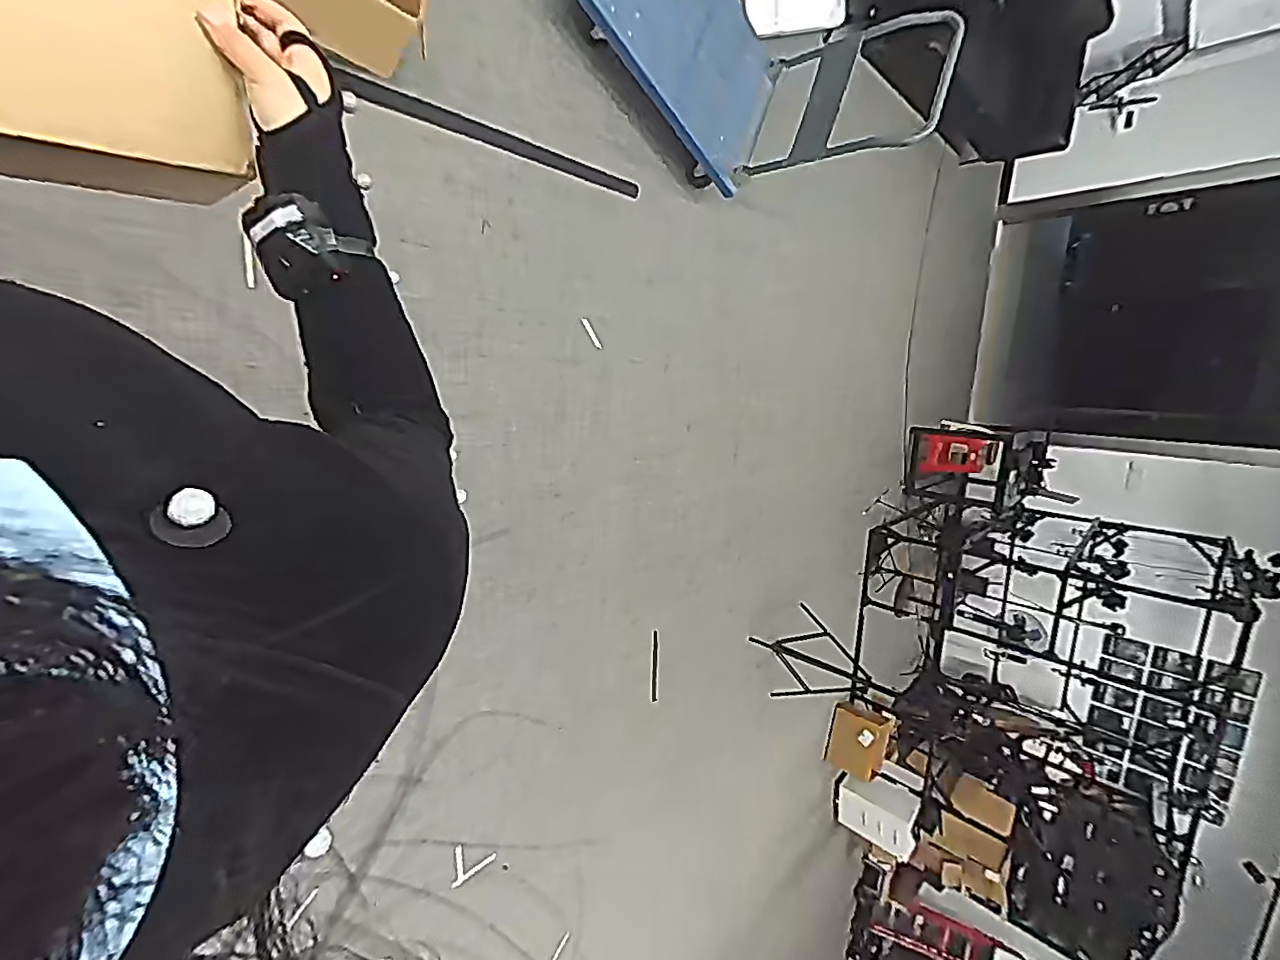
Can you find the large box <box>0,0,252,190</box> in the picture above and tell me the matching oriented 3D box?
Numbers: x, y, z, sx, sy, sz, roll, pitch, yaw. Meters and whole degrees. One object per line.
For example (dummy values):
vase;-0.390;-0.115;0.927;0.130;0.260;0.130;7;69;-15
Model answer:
large box;-0.547;-0.411;0.368;0.408;0.320;0.320;-11;112;-40
